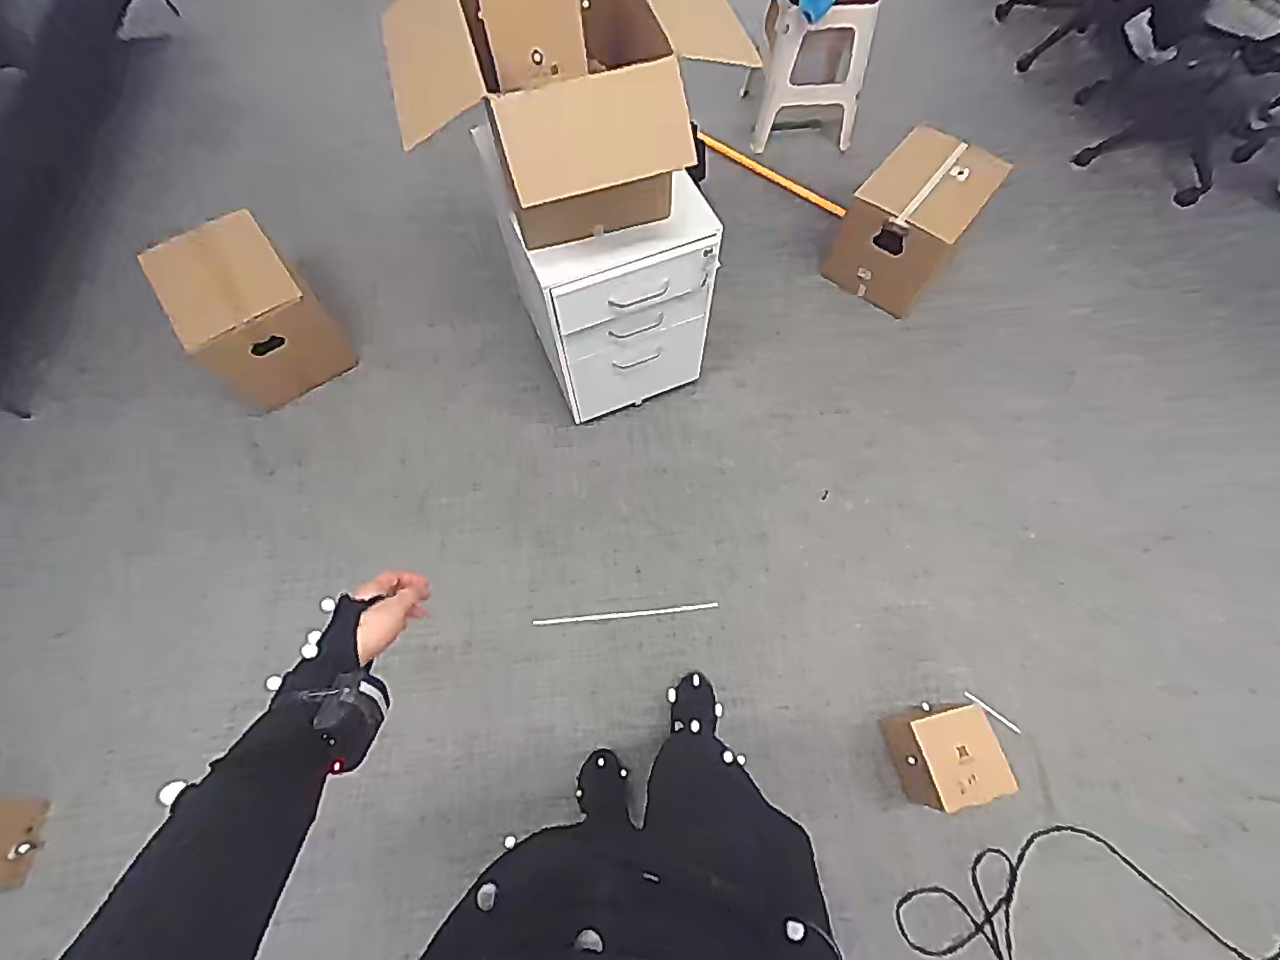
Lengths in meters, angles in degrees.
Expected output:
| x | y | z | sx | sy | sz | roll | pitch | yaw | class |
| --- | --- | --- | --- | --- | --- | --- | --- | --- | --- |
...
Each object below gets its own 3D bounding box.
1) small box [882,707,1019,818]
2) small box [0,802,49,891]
| x | y | z | sx | sy | sz | roll | pitch | yaw | class |
| --- | --- | --- | --- | --- | --- | --- | --- | --- | --- |
| 0.662 | 0.608 | 1.181 | 0.168 | 0.176 | 0.179 | -13 | 68 | -5 | small box |
| -1.438 | 0.791 | 1.139 | 0.179 | 0.176 | 0.168 | -4 | 67 | -2 | small box |
